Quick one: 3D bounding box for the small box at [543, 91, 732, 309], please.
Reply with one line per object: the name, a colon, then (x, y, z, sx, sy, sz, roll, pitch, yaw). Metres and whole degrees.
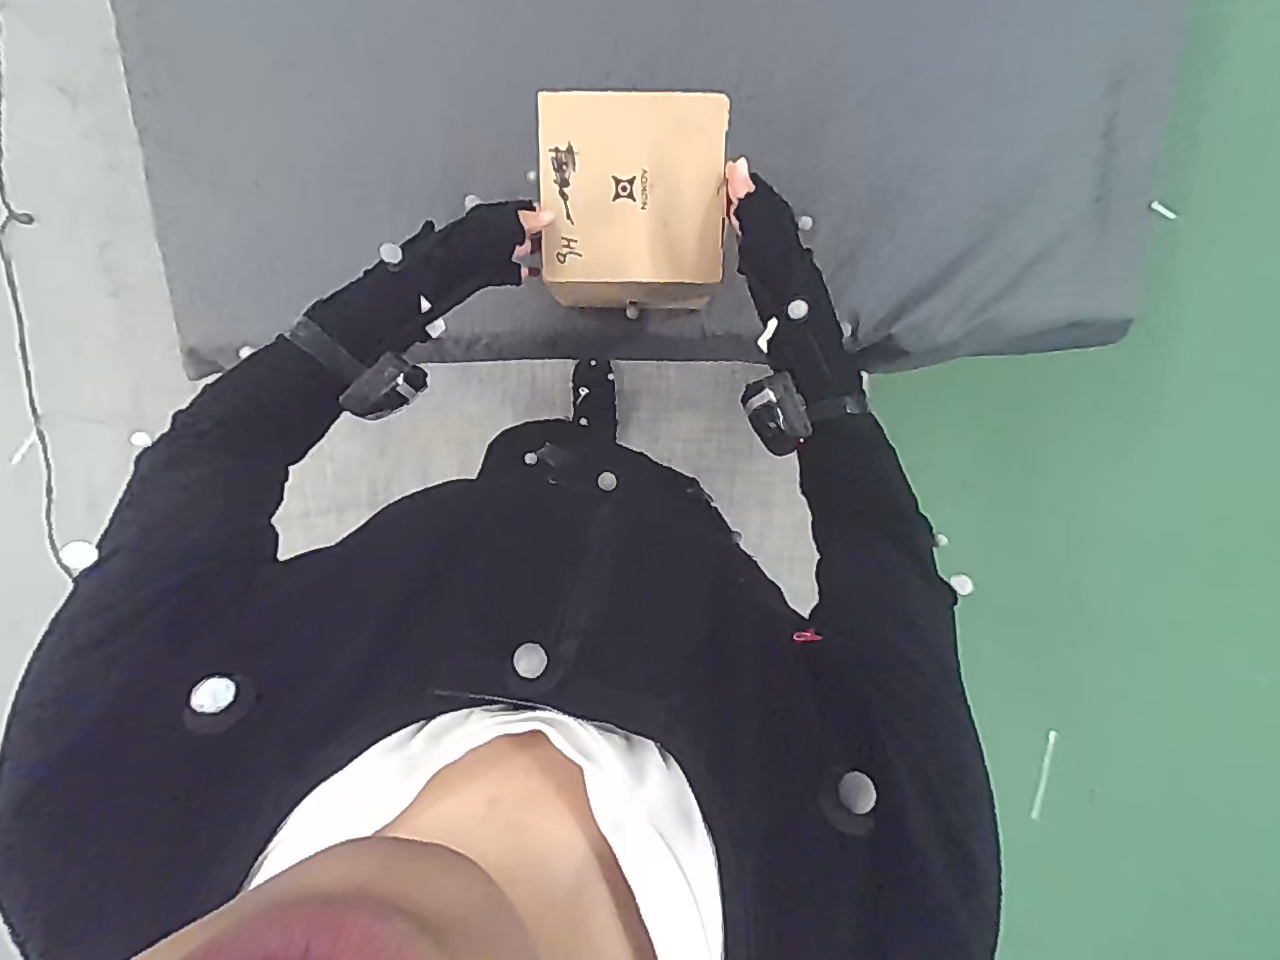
small box: (-0.007, -0.283, 0.584, 0.179, 0.176, 0.168, 1, 100, -2)
